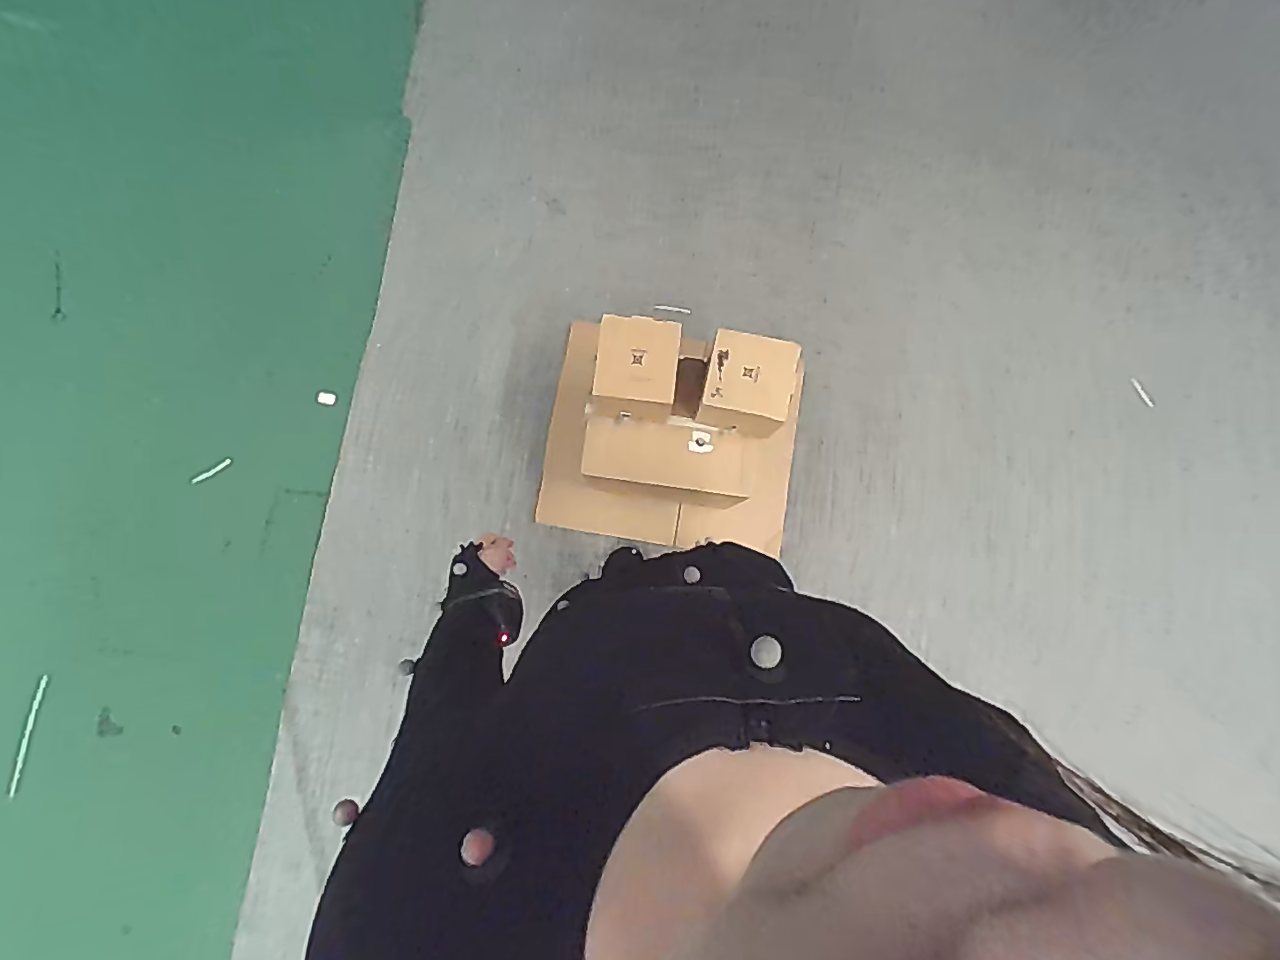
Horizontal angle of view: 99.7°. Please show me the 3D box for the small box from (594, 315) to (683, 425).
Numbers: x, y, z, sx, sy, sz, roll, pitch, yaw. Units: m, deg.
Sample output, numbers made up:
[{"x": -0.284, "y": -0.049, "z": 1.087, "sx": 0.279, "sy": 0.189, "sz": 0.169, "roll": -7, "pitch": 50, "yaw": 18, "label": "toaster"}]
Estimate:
[{"x": -0.004, "y": -0.229, "z": 1.161, "sx": 0.168, "sy": 0.176, "sz": 0.179, "roll": 6, "pitch": 82, "yaw": 0, "label": "small box"}]

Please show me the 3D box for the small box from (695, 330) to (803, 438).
[{"x": 0.225, "y": -0.196, "z": 1.157, "sx": 0.179, "sy": 0.176, "sz": 0.168, "roll": 13, "pitch": 82, "yaw": 1, "label": "small box"}]

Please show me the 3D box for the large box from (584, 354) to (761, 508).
[{"x": 0.077, "y": -0.114, "z": 1.392, "sx": 0.408, "sy": 0.320, "sz": 0.320, "roll": 8, "pitch": 83, "yaw": -1, "label": "large box"}]
